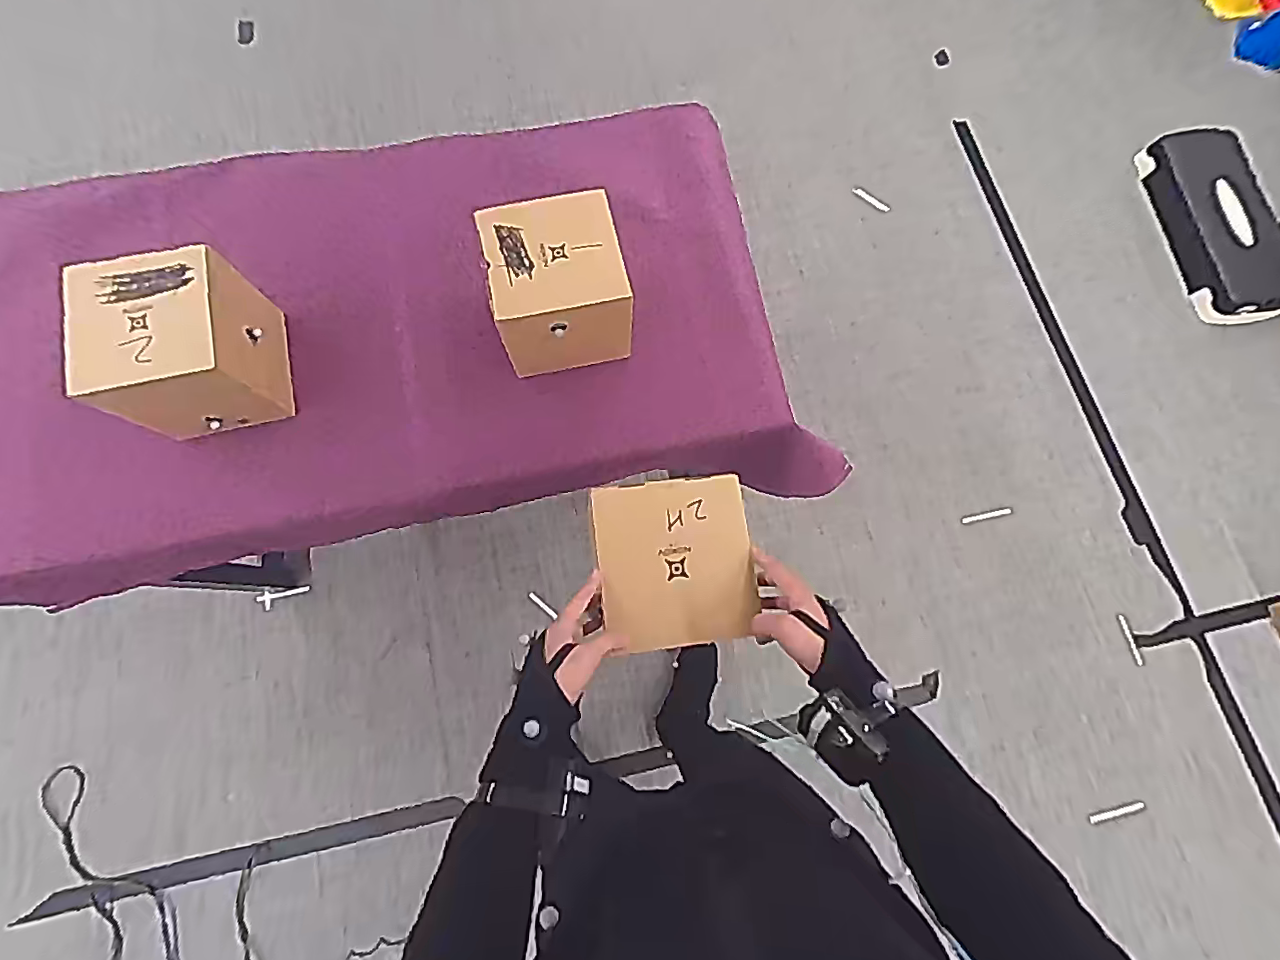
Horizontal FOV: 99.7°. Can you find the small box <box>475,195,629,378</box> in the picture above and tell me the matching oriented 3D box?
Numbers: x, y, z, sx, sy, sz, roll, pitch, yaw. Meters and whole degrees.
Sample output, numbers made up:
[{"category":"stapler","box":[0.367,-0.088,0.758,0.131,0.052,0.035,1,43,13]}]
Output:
[{"category":"small box","box":[-0.116,-0.262,0.765,0.179,0.176,0.168,-12,77,-6]}]

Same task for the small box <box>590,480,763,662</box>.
[{"category":"small box","box":[0.031,0.108,0.642,0.168,0.176,0.179,-6,77,-8]}]
